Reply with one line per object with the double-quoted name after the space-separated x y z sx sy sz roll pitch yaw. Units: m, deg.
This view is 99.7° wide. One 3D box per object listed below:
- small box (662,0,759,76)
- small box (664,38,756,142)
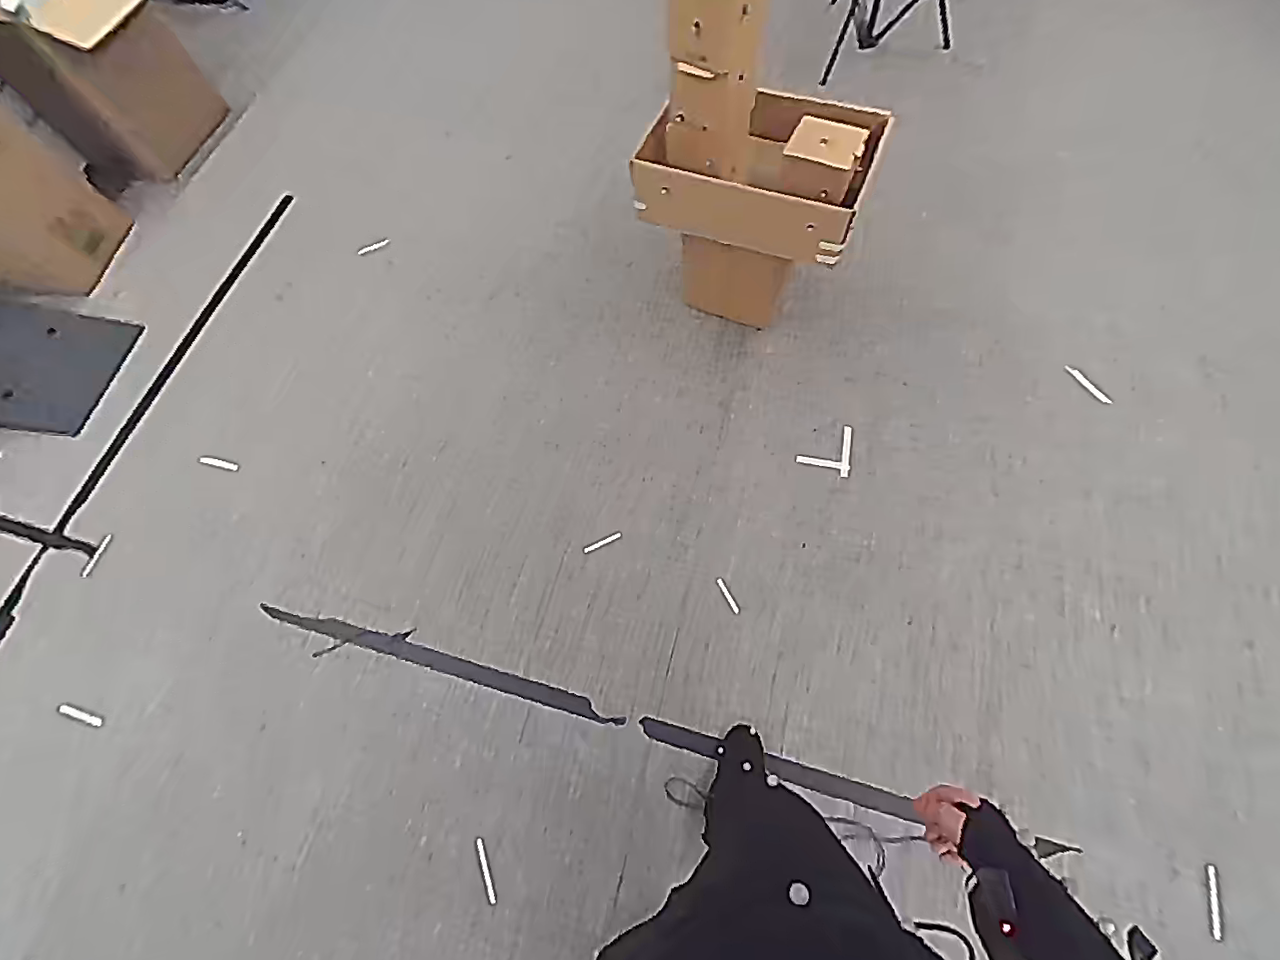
0.164 -1.068 1.228 0.168 0.176 0.179 32 73 17 "small box"
0.179 -1.007 1.380 0.168 0.176 0.179 28 71 16 "small box"
